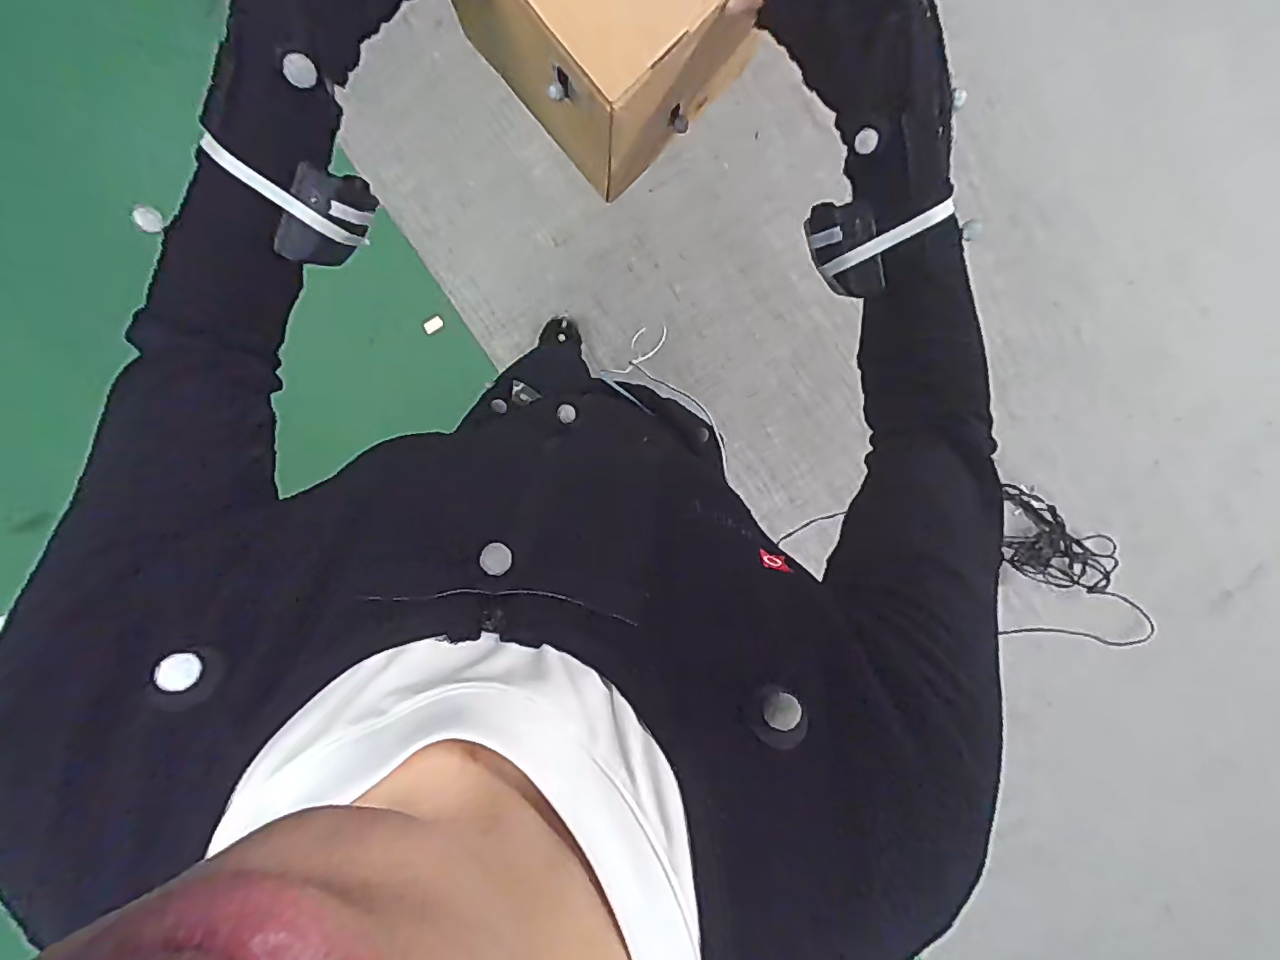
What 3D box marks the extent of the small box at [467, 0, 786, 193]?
[{"bbox_3d":[-0.016,-0.345,0.379,0.168,0.176,0.179,-42,101,3],"label":"small box"}]
